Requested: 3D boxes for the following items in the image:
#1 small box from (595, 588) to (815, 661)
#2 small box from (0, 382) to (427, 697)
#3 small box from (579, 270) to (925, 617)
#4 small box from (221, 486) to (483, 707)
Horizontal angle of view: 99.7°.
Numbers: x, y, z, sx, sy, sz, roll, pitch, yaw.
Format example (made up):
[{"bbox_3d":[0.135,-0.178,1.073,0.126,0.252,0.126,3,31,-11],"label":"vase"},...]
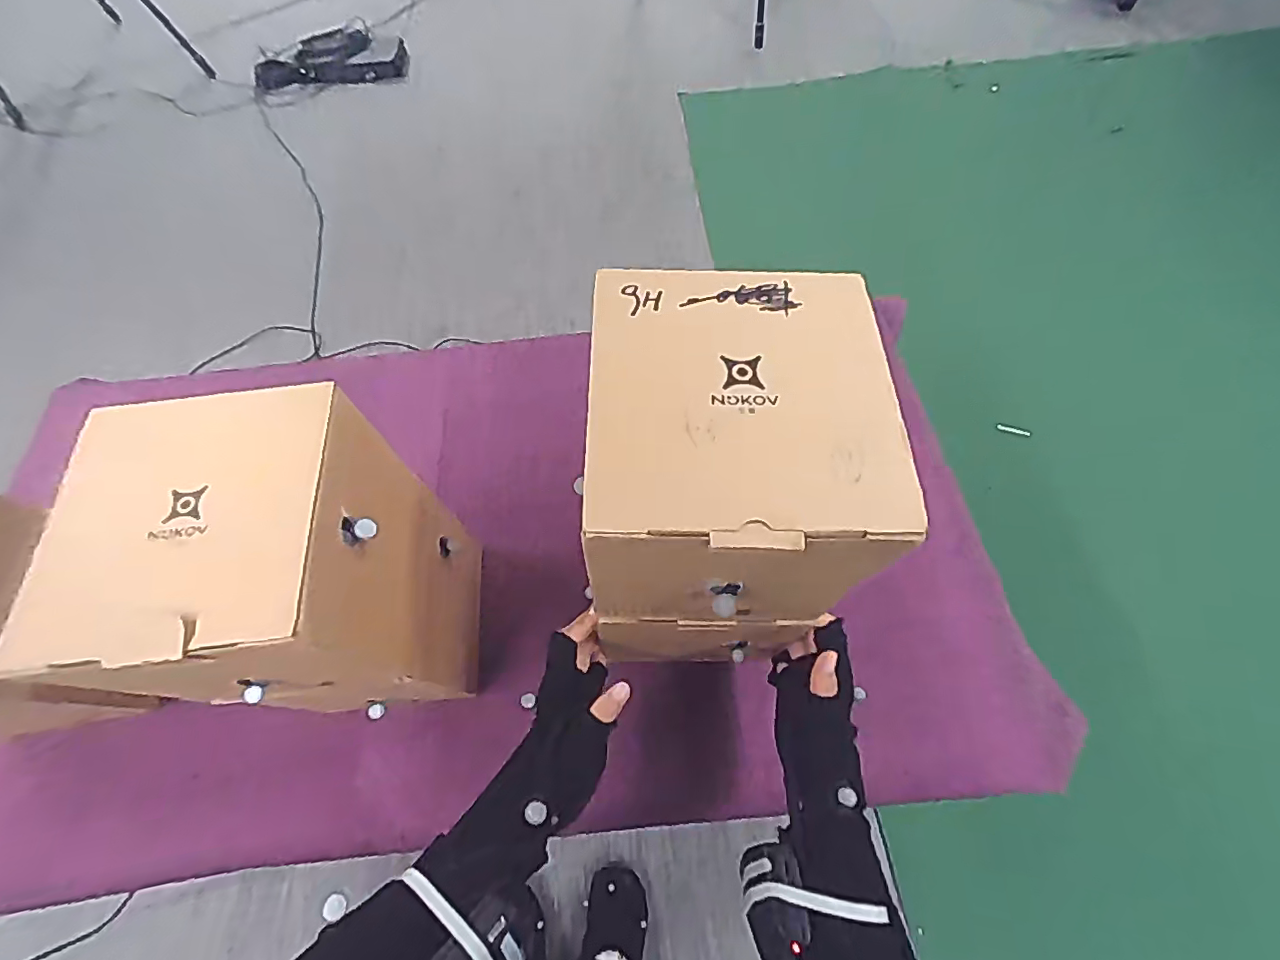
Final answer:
[{"bbox_3d":[0.050,0.068,0.504,0.168,0.176,0.179,1,63,-1],"label":"small box"},{"bbox_3d":[-0.271,0.053,0.398,0.168,0.176,0.179,-7,65,-1],"label":"small box"},{"bbox_3d":[0.053,-0.011,0.360,0.168,0.176,0.179,2,64,-1],"label":"small box"},{"bbox_3d":[-0.265,0.124,0.545,0.168,0.176,0.179,-6,65,0],"label":"small box"}]
